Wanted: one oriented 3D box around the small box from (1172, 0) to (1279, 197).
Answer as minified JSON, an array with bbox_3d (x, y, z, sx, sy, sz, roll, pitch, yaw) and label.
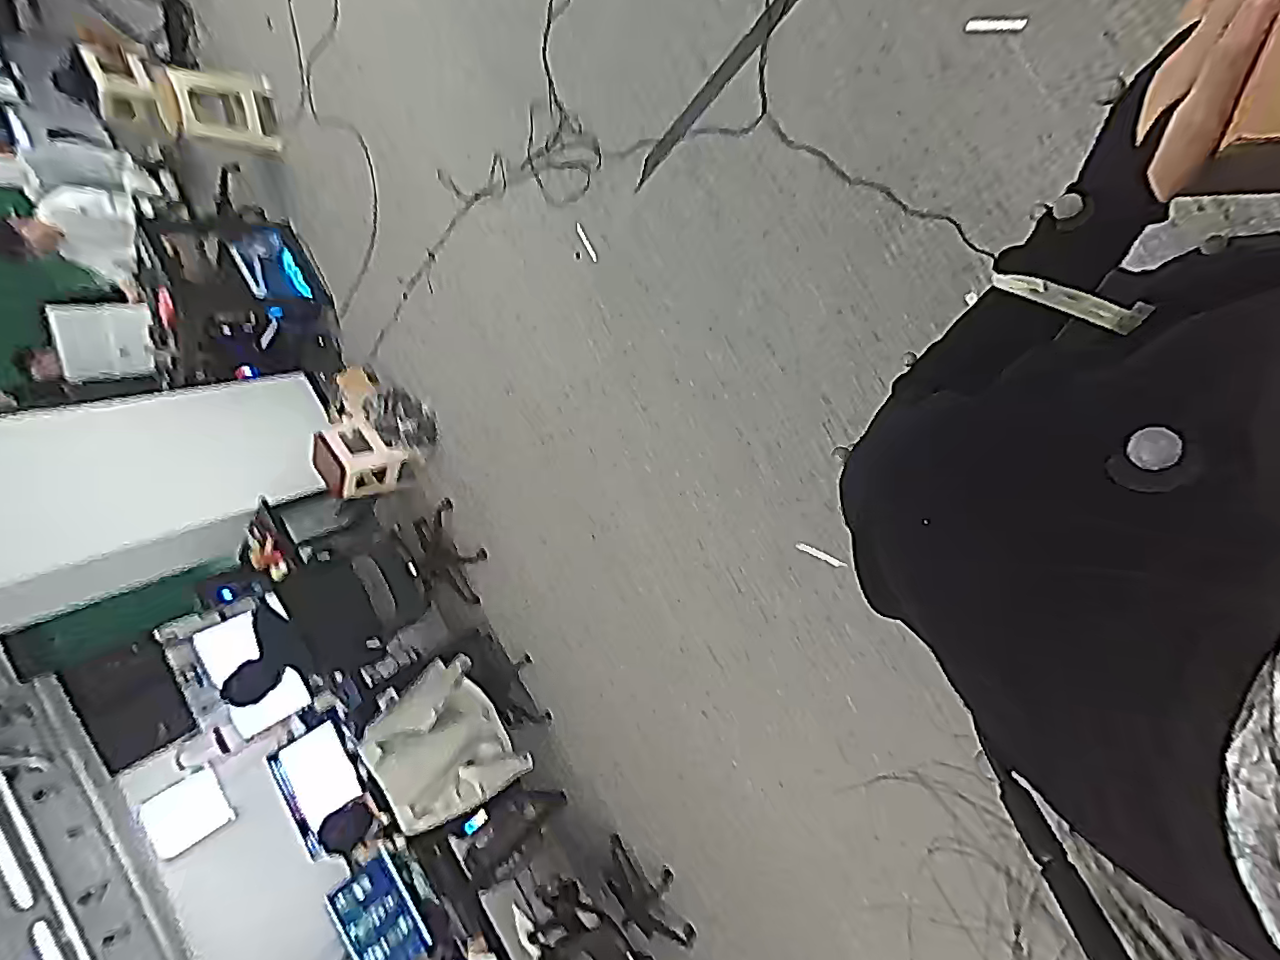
[{"bbox_3d":[0.408,-0.255,0.267,0.168,0.176,0.179,15,112,33],"label":"small box"}]
